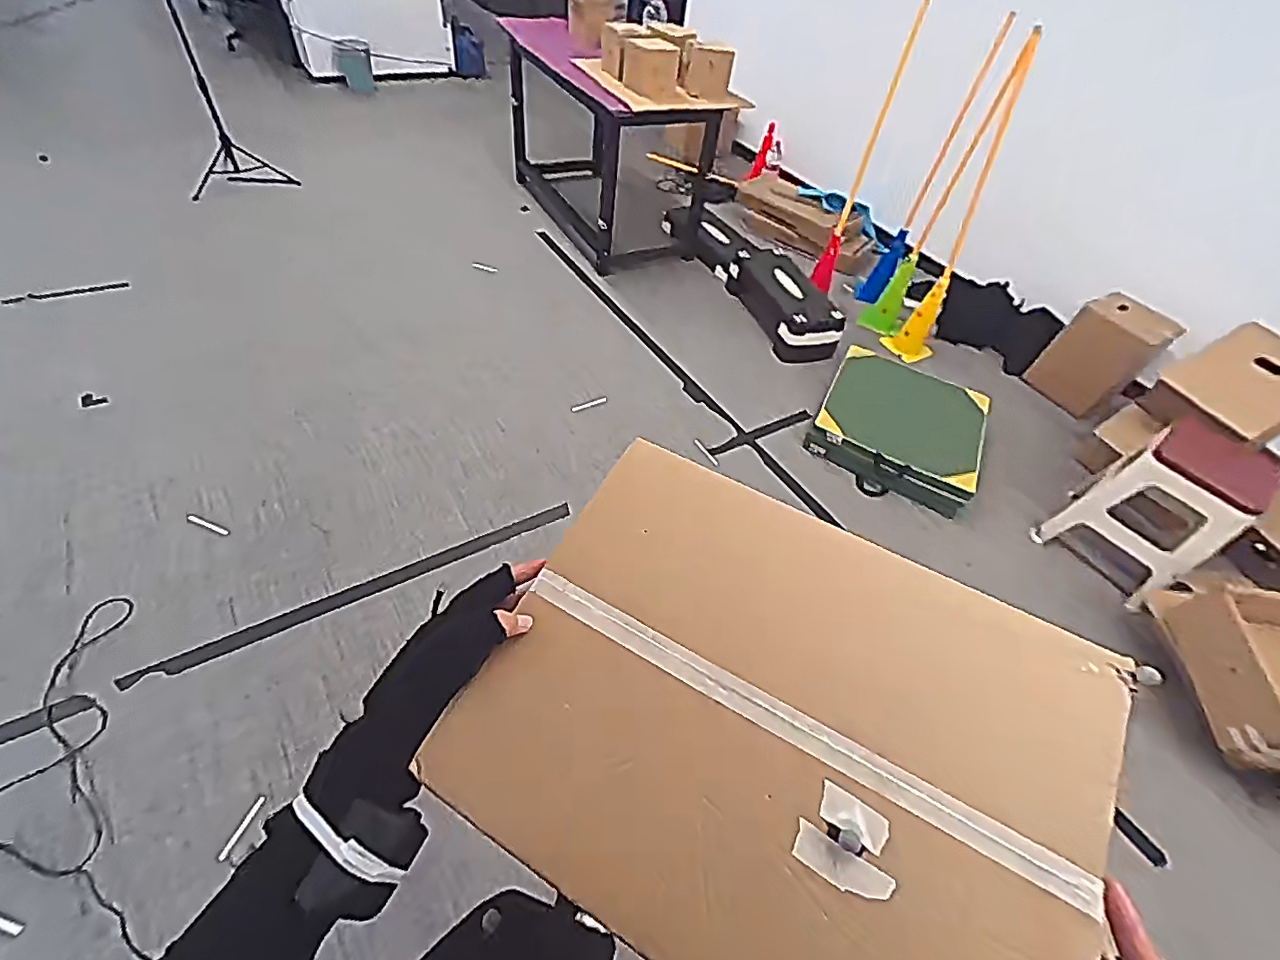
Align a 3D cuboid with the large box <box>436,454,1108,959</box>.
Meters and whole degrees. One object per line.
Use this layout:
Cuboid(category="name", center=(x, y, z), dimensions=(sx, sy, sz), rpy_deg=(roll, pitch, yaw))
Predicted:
Cuboid(category="large box", center=(0.104, 0.242, 0.518), dimensions=(0.408, 0.320, 0.320), rpy_deg=(26, 65, 17))
